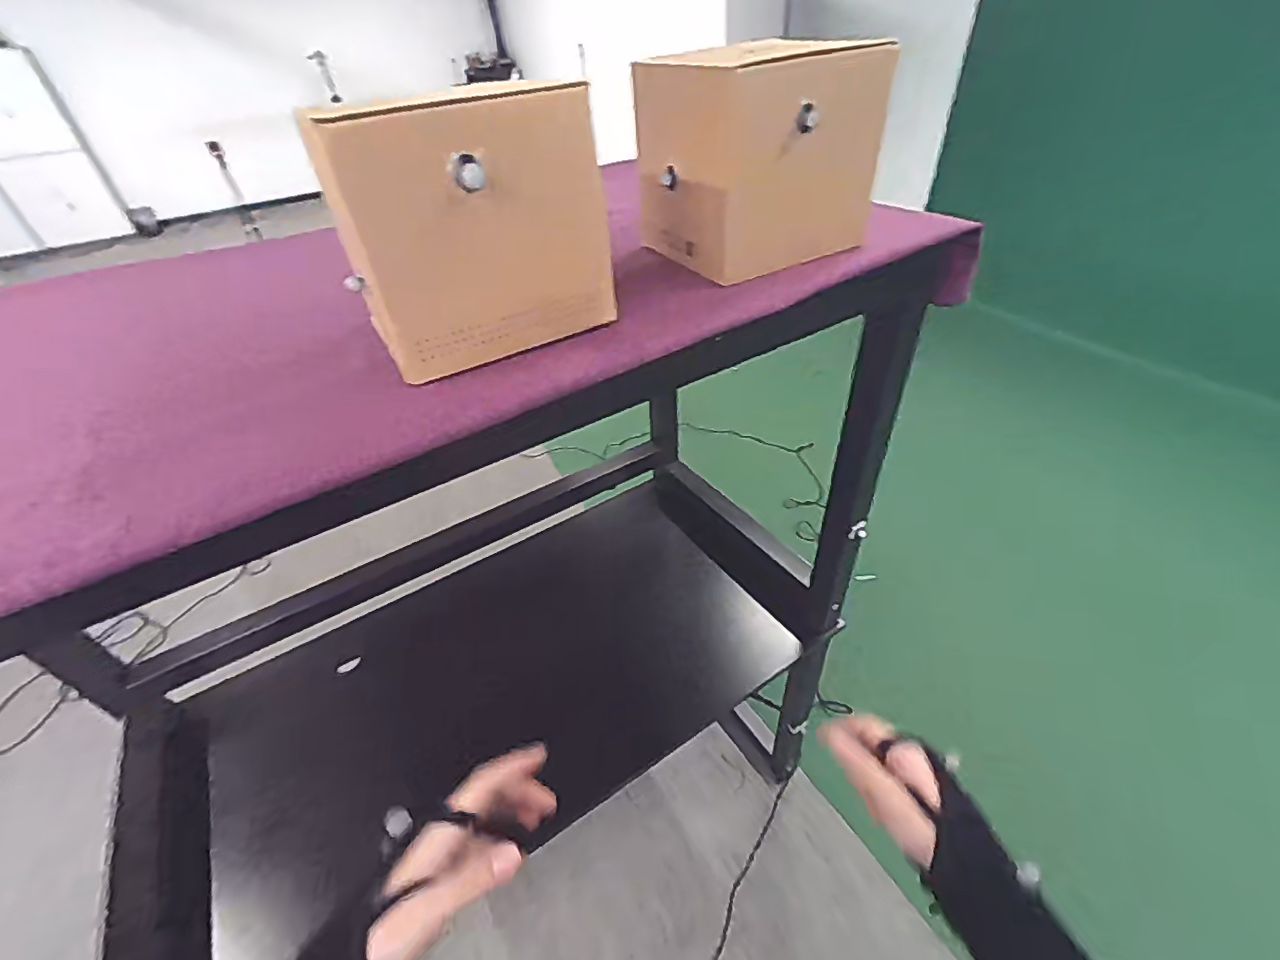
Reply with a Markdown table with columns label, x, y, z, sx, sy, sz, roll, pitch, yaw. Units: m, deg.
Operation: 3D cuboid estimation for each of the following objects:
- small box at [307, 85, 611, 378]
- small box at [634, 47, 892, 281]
| label | x | y | z | sx | sy | sz | roll | pitch | yaw |
| --- | --- | --- | --- | --- | --- | --- | --- | --- | --- |
| small box | -0.135 | -0.208 | 0.440 | 0.179 | 0.176 | 0.168 | -25 | 42 | -21 |
| small box | 0.112 | -0.316 | 0.541 | 0.179 | 0.176 | 0.168 | -22 | 44 | -19 |
